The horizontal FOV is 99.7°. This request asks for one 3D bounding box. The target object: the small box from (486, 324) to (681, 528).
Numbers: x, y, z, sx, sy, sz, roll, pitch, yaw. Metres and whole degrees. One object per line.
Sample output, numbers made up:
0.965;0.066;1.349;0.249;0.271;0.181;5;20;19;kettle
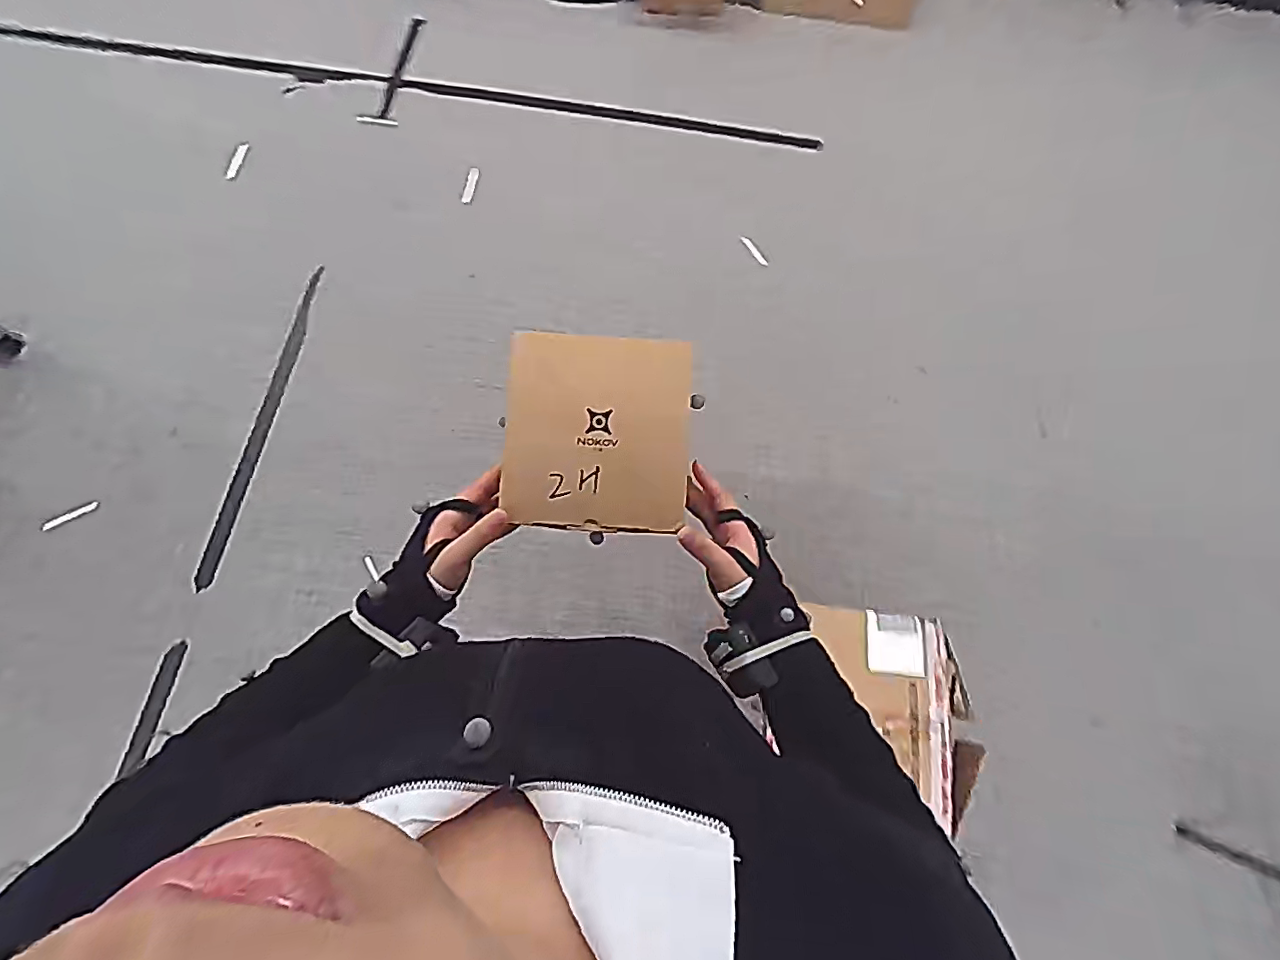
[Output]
-0.051;-0.042;0.558;0.168;0.176;0.179;2;85;-1;small box
